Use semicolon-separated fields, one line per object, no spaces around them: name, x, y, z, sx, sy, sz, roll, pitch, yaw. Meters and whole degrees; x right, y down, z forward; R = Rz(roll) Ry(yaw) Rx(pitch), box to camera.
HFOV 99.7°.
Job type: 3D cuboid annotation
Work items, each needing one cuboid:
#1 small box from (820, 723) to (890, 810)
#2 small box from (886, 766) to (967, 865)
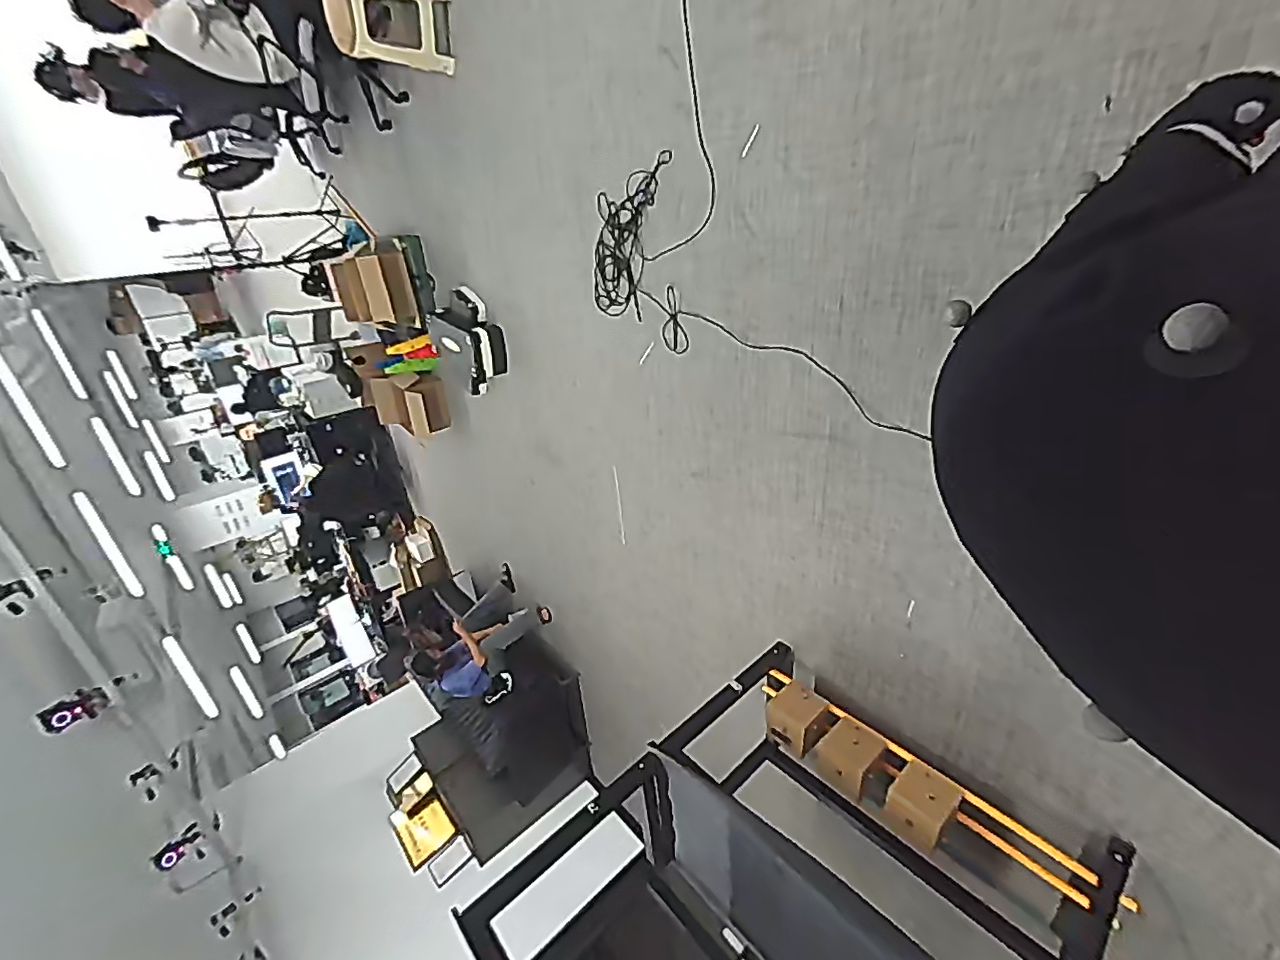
small box;0.765;1.006;1.917;0.168;0.176;0.179;23;126;45
small box;0.926;1.070;1.742;0.168;0.176;0.179;25;128;45
